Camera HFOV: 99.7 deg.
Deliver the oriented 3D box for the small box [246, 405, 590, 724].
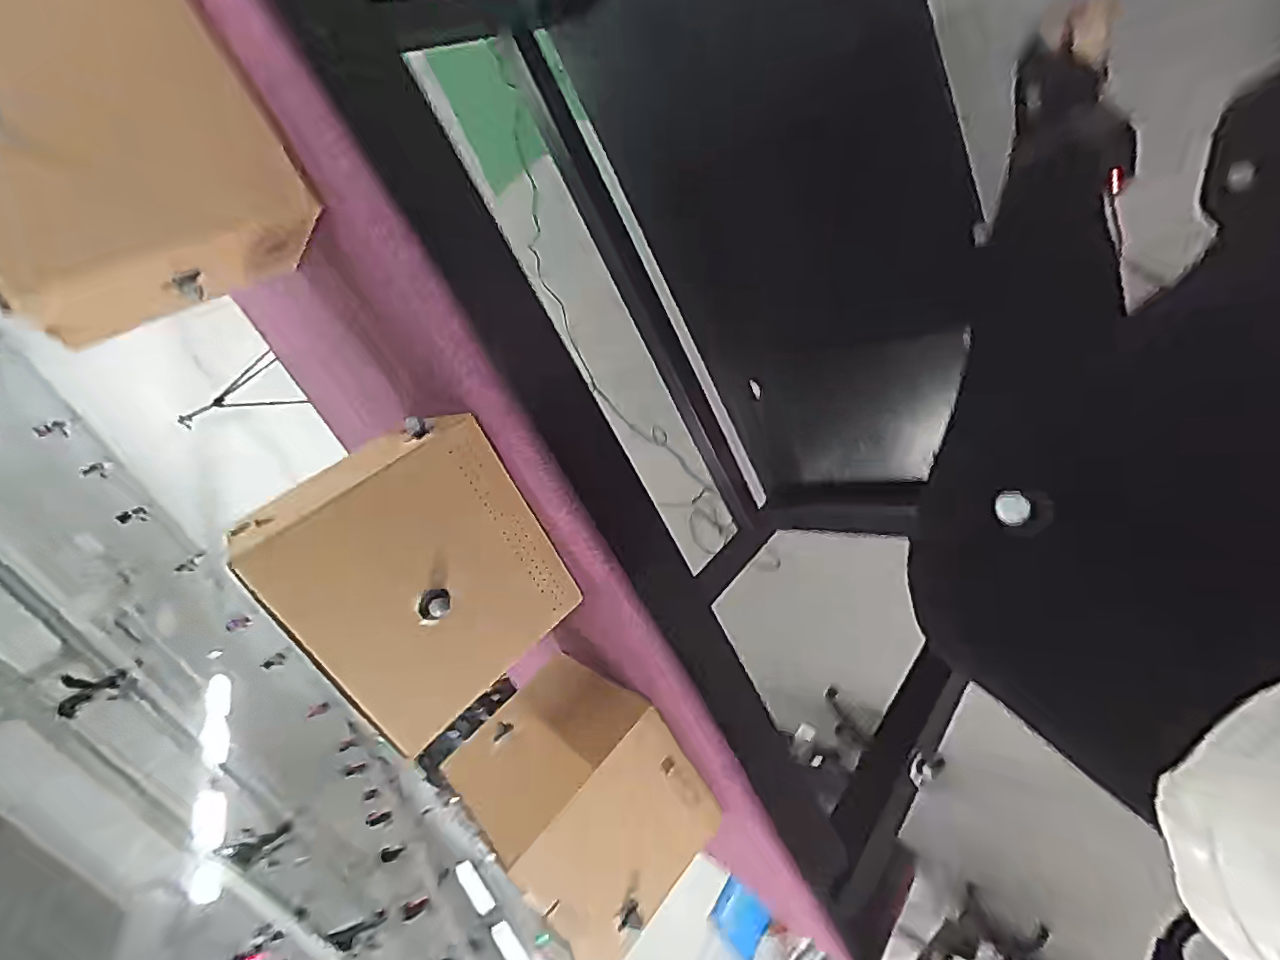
[{"bbox_3d":[-0.175,0.049,0.442,0.168,0.176,0.179,6,130,53],"label":"small box"}]
